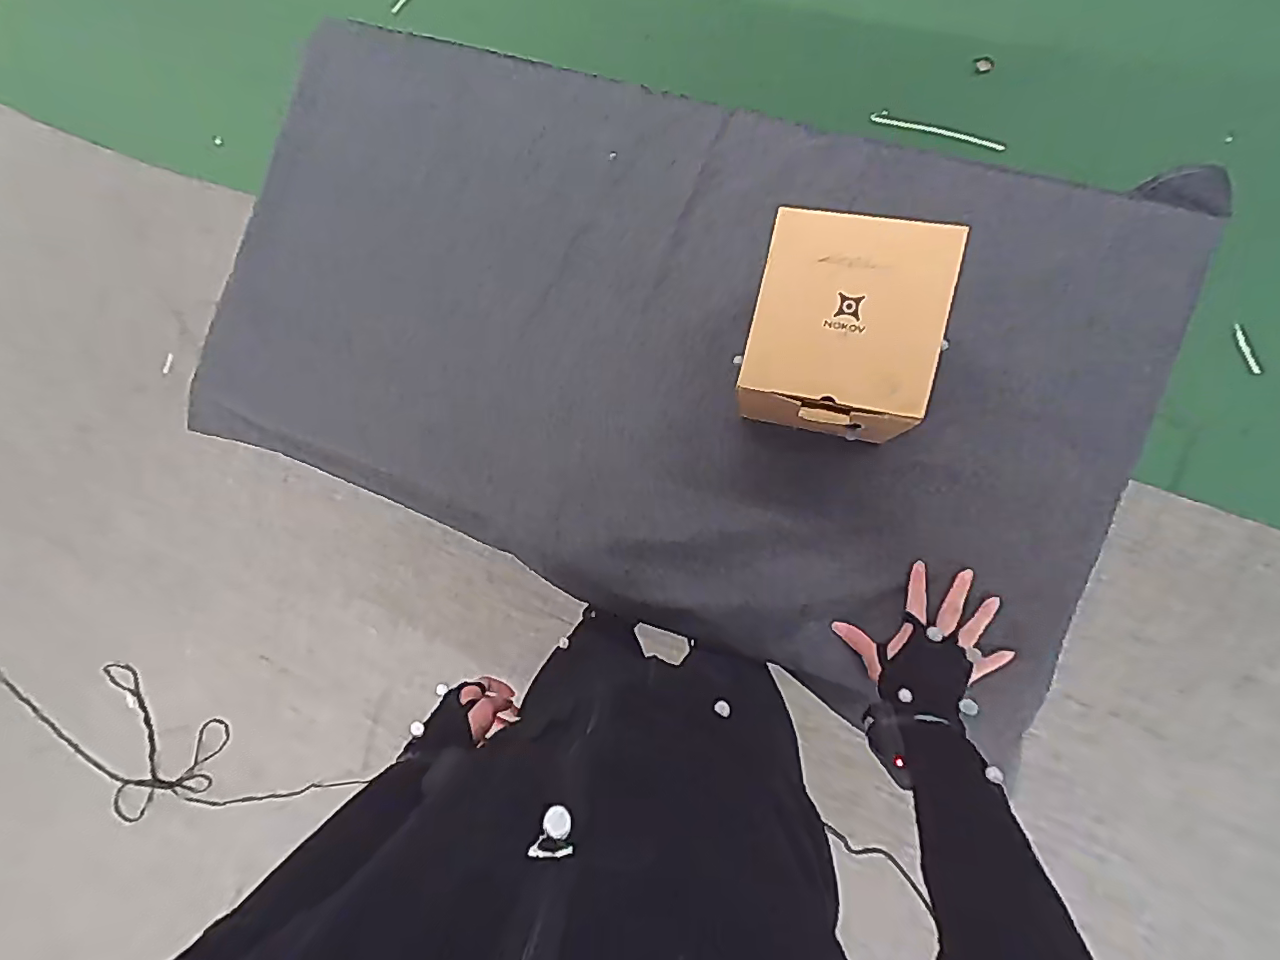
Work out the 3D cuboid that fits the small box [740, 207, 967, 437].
[{"bbox_3d":[0.207,-0.150,0.568,0.168,0.176,0.179,13,88,12],"label":"small box"}]
